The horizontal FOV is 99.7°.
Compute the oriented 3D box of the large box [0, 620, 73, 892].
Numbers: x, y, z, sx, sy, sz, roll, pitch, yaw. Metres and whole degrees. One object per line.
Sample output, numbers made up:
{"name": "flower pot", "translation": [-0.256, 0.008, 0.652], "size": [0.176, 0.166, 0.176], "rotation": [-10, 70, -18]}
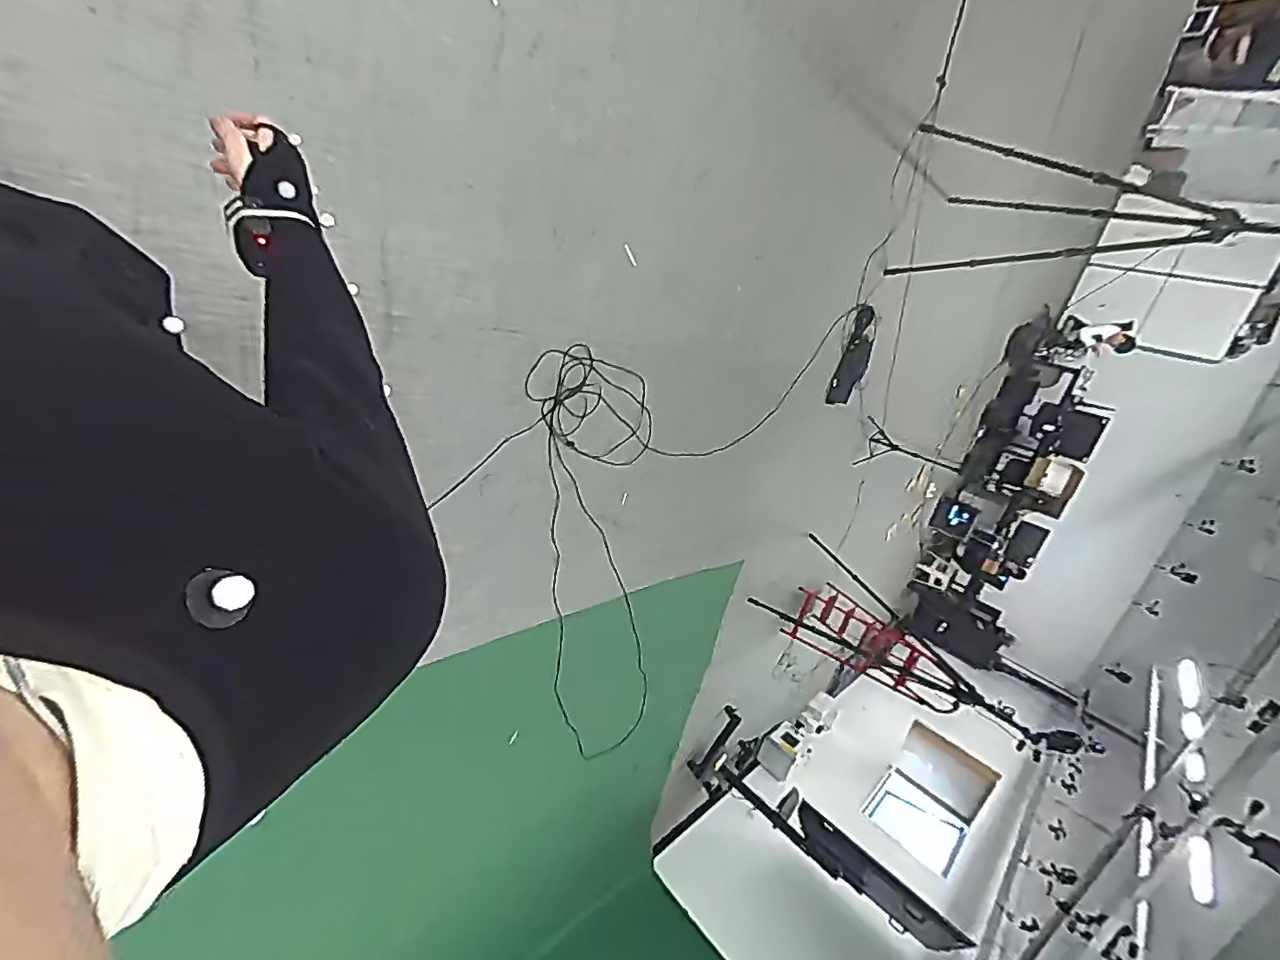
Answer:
{"name": "large box", "translation": [-1.305, 0.537, 0.974], "size": [0.320, 0.320, 0.408], "rotation": [-14, 124, -43]}
